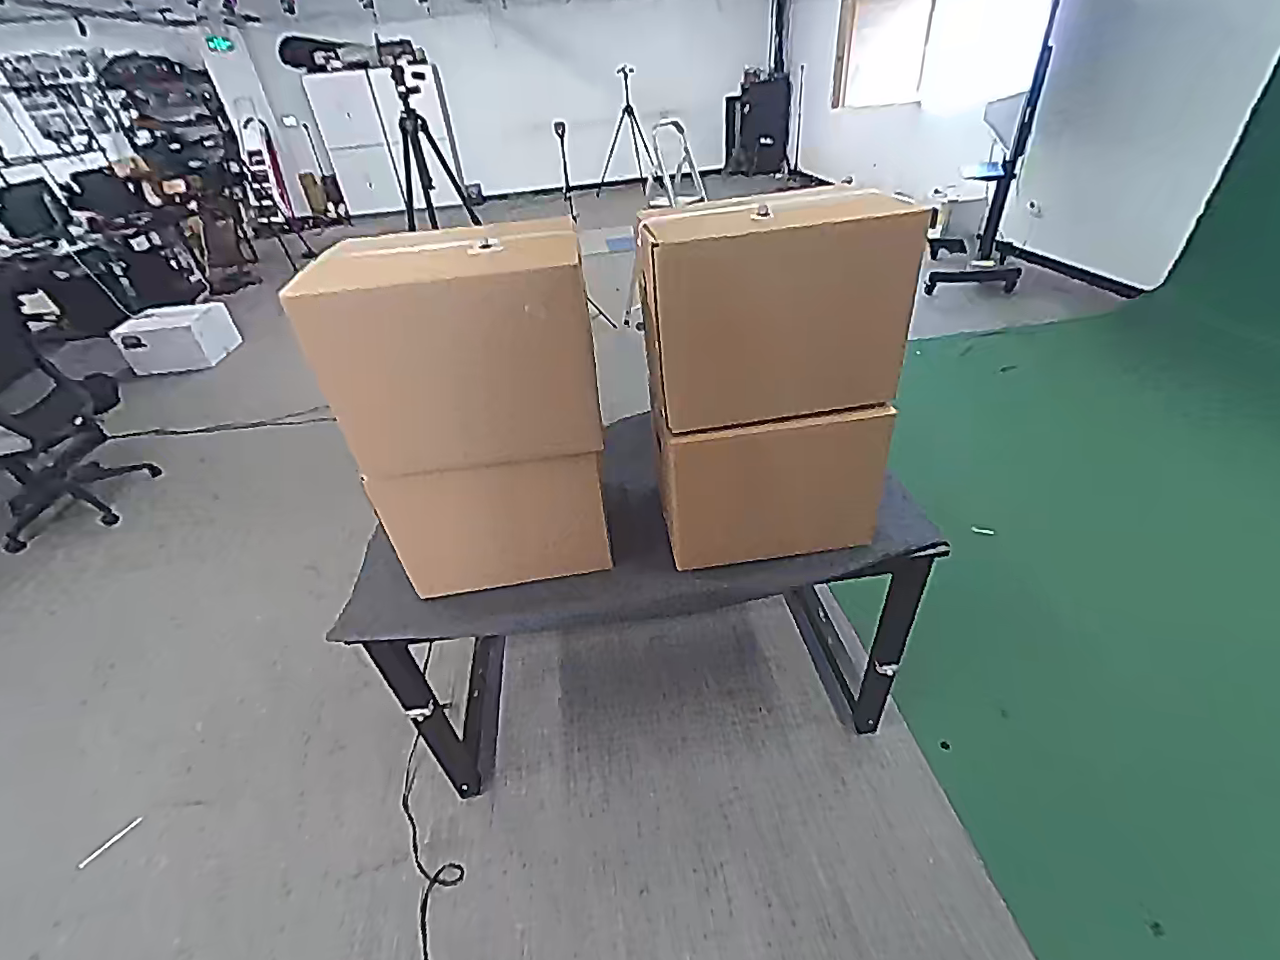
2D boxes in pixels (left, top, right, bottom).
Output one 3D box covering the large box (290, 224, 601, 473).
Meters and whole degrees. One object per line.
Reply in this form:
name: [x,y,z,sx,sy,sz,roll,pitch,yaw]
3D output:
large box: [-0.288,-0.237,0.942,0.408,0.320,0.320,-6,38,-4]
